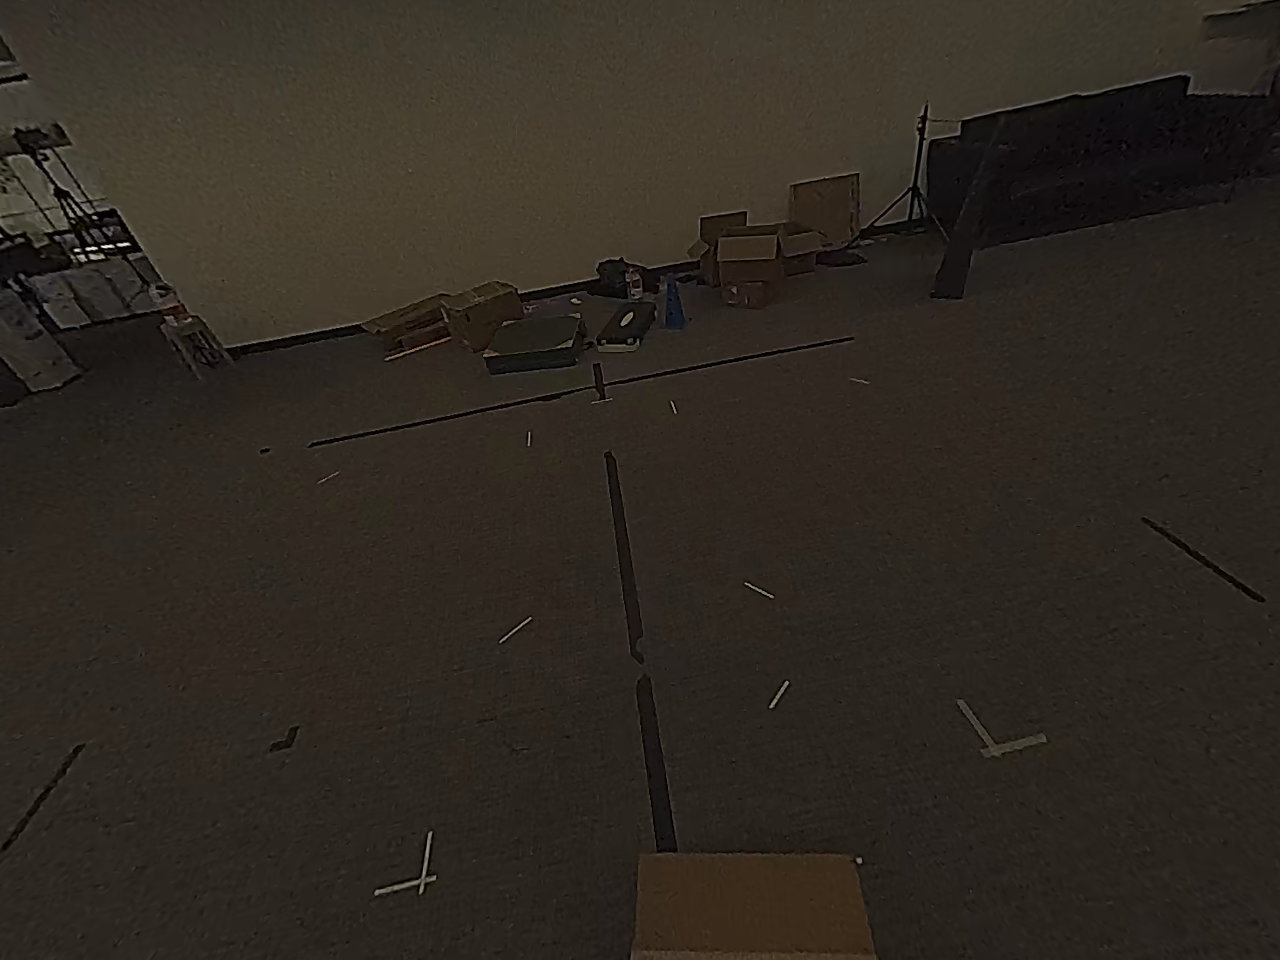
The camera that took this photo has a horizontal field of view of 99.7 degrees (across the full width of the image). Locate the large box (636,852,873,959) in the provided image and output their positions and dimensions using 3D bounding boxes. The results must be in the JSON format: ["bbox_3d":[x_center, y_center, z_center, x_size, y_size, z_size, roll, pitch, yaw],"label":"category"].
[{"bbox_3d":[0.206,0.926,1.000,0.408,0.320,0.320,-4,37,7],"label":"large box"}]
